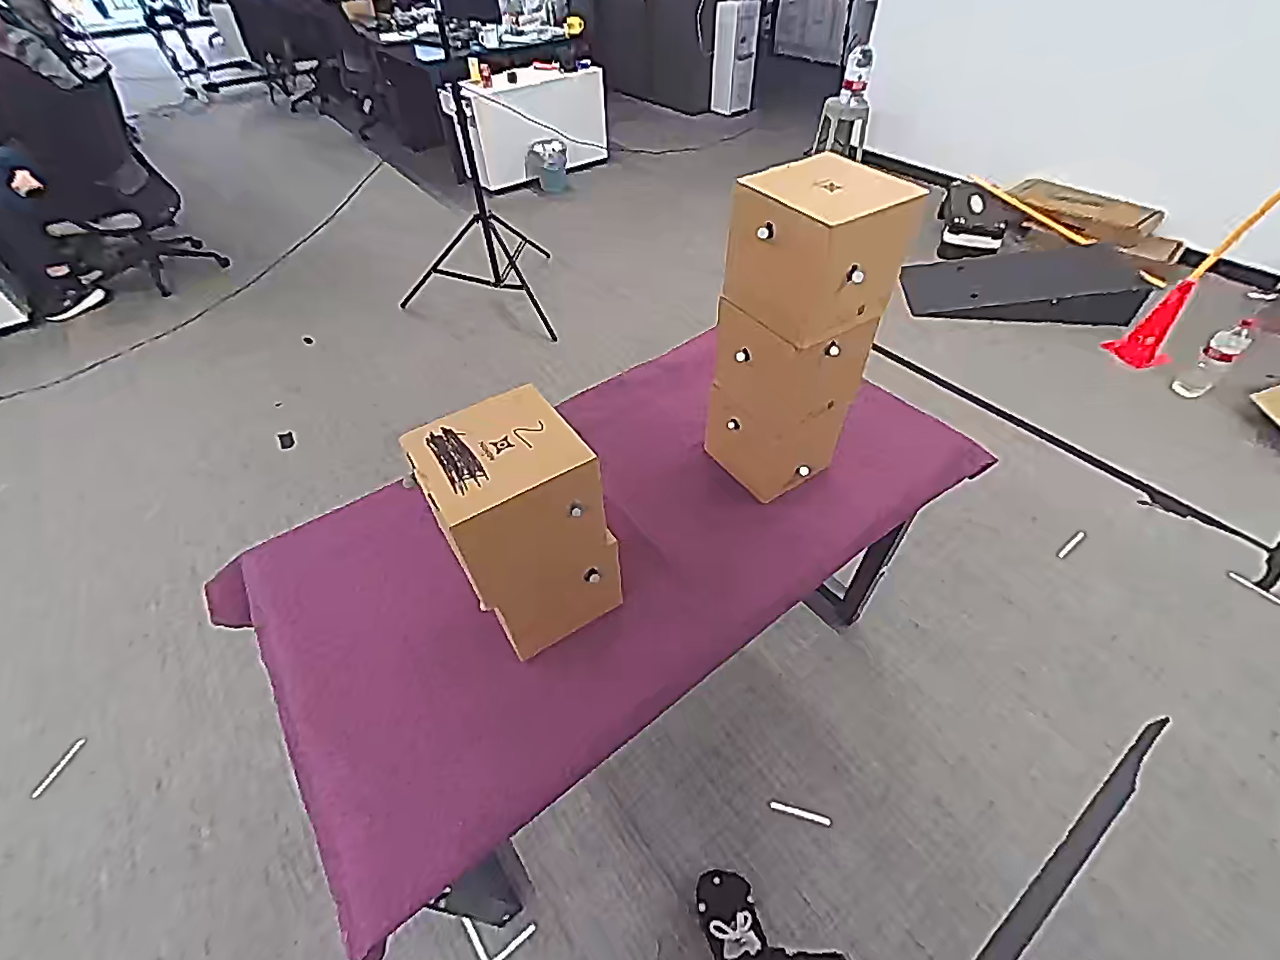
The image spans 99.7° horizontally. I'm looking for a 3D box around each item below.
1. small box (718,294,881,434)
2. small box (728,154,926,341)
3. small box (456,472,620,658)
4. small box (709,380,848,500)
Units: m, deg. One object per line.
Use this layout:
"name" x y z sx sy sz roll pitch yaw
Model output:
"small box" 0.238 -0.203 0.857 0.168 0.176 0.179 -26 51 -19
"small box" 0.237 -0.308 0.732 0.168 0.176 0.179 -26 52 -19
"small box" -0.141 0.125 0.797 0.179 0.176 0.168 -27 52 -20
"small box" 0.240 -0.096 0.982 0.168 0.176 0.179 -28 53 -20
